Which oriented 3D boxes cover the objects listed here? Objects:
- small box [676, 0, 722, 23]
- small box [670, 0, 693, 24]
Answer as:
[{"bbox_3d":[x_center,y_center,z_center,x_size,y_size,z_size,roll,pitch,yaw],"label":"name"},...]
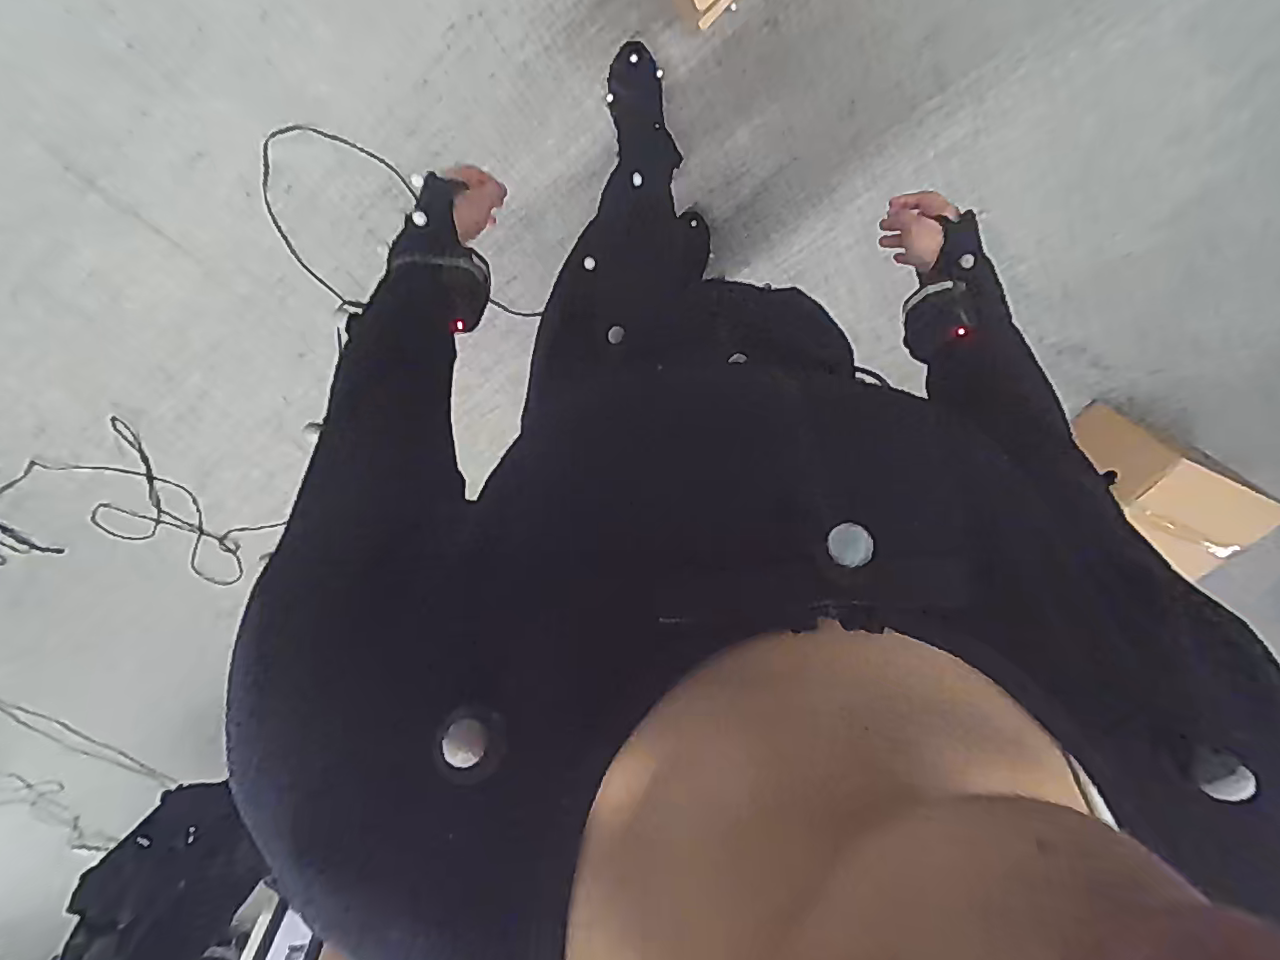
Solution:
[{"bbox_3d":[0.099,-0.716,0.664,0.179,0.176,0.168,-32,119,20],"label":"small box"},{"bbox_3d":[0.100,-0.820,0.791,0.179,0.176,0.168,-31,119,22],"label":"small box"}]
